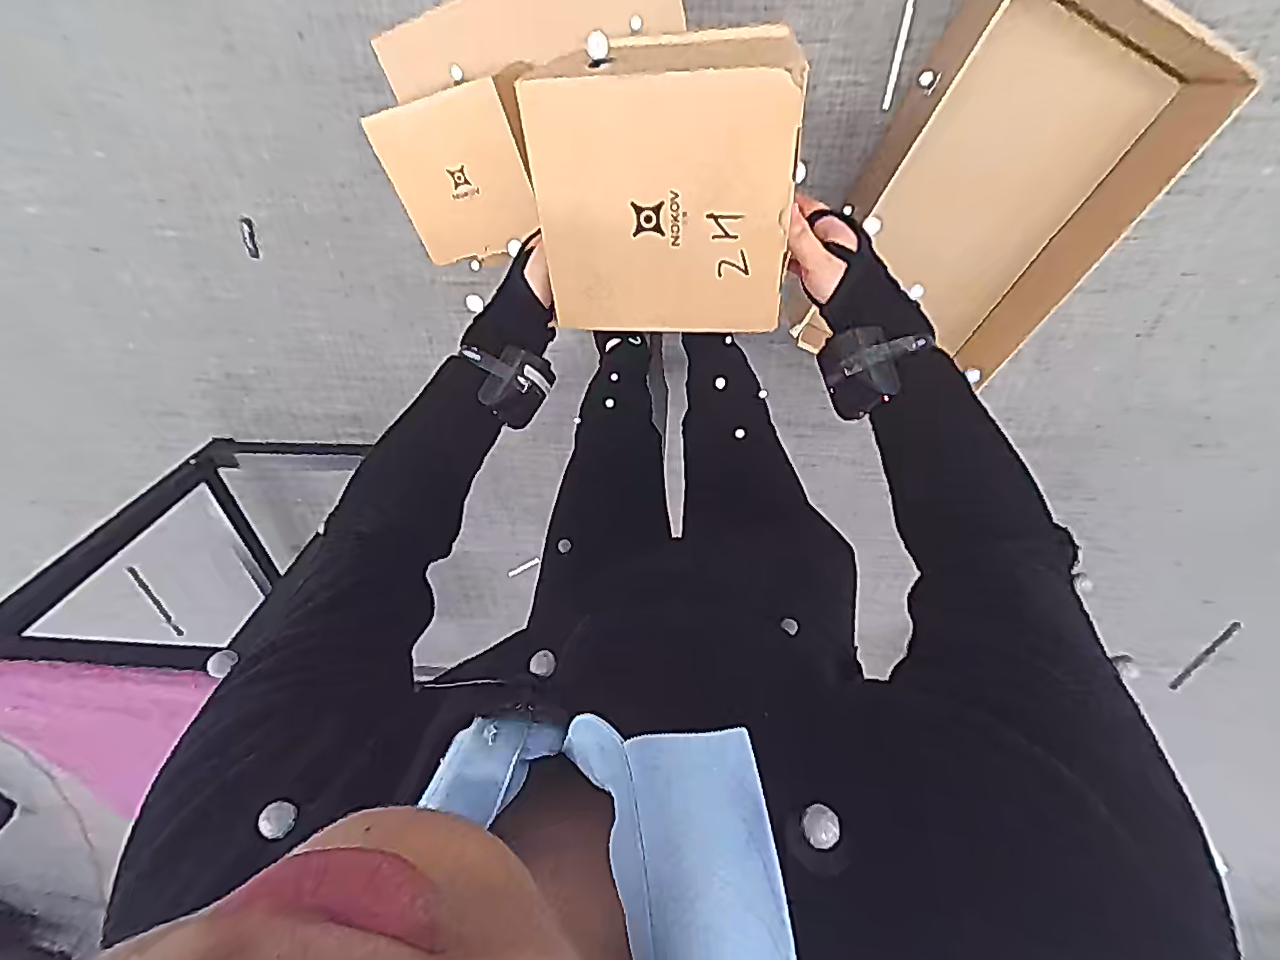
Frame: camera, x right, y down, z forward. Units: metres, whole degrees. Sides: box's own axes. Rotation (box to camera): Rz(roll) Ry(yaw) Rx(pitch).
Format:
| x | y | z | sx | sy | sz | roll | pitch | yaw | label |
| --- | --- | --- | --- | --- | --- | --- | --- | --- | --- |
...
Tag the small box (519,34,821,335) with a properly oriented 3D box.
| x | y | z | sx | sy | sz | roll | pitch | yaw | label |
| --- | --- | --- | --- | --- | --- | --- | --- | --- | --- |
| 0.028 | -0.229 | 0.416 | 0.179 | 0.176 | 0.168 | 4 | 134 | 8 | small box |
